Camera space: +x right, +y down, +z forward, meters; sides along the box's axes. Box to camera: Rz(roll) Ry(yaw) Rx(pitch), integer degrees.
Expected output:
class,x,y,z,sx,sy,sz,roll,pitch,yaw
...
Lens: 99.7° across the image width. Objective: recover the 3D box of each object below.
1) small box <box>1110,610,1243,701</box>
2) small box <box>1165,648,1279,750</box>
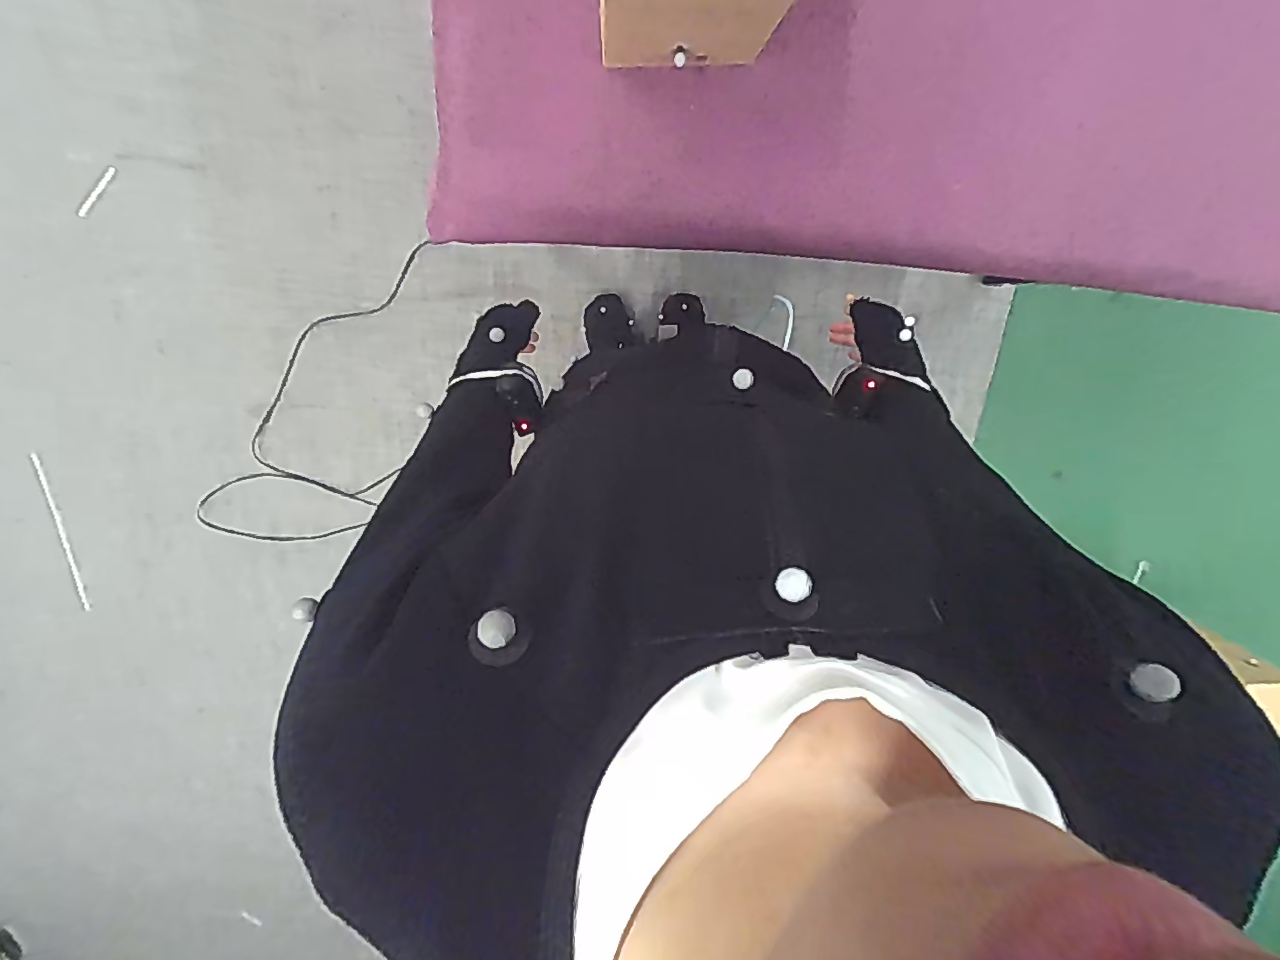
class,x,y,z,sx,sy,sz,roll,pitch,yaw
small box,1.451,0.481,1.478,0.168,0.176,0.179,4,109,-6
small box,1.461,0.529,1.326,0.168,0.176,0.179,1,110,-4
